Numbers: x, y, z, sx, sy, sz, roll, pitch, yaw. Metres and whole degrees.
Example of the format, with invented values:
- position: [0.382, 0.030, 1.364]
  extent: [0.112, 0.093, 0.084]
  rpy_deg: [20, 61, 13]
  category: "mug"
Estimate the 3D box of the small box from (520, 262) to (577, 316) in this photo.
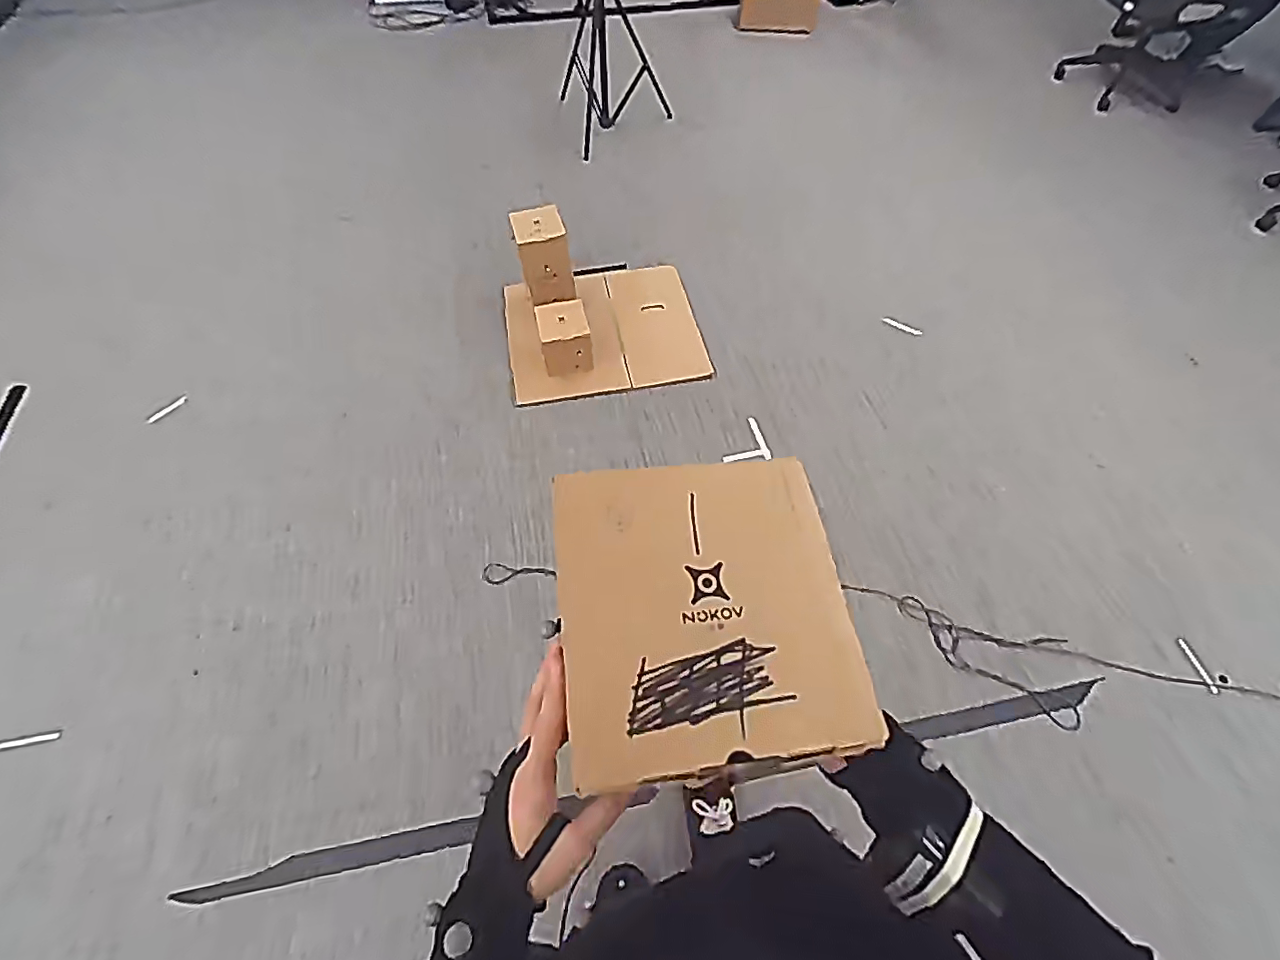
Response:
- position: [-0.335, -0.724, 2.006]
  extent: [0.168, 0.176, 0.179]
  rpy_deg: [-16, 61, -10]
  category: "small box"

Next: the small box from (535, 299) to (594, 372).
- position: [-0.259, -0.490, 1.867]
  extent: [0.168, 0.176, 0.179]
  rpy_deg: [-12, 59, -8]
  category: "small box"

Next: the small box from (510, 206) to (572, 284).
- position: [-0.340, -0.809, 1.865]
  extent: [0.168, 0.176, 0.179]
  rpy_deg: [-15, 60, -8]
  category: "small box"

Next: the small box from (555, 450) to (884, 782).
- position: [0.030, 0.098, 0.378]
  extent: [0.168, 0.176, 0.179]
  rpy_deg: [-4, 63, -10]
  category: "small box"
